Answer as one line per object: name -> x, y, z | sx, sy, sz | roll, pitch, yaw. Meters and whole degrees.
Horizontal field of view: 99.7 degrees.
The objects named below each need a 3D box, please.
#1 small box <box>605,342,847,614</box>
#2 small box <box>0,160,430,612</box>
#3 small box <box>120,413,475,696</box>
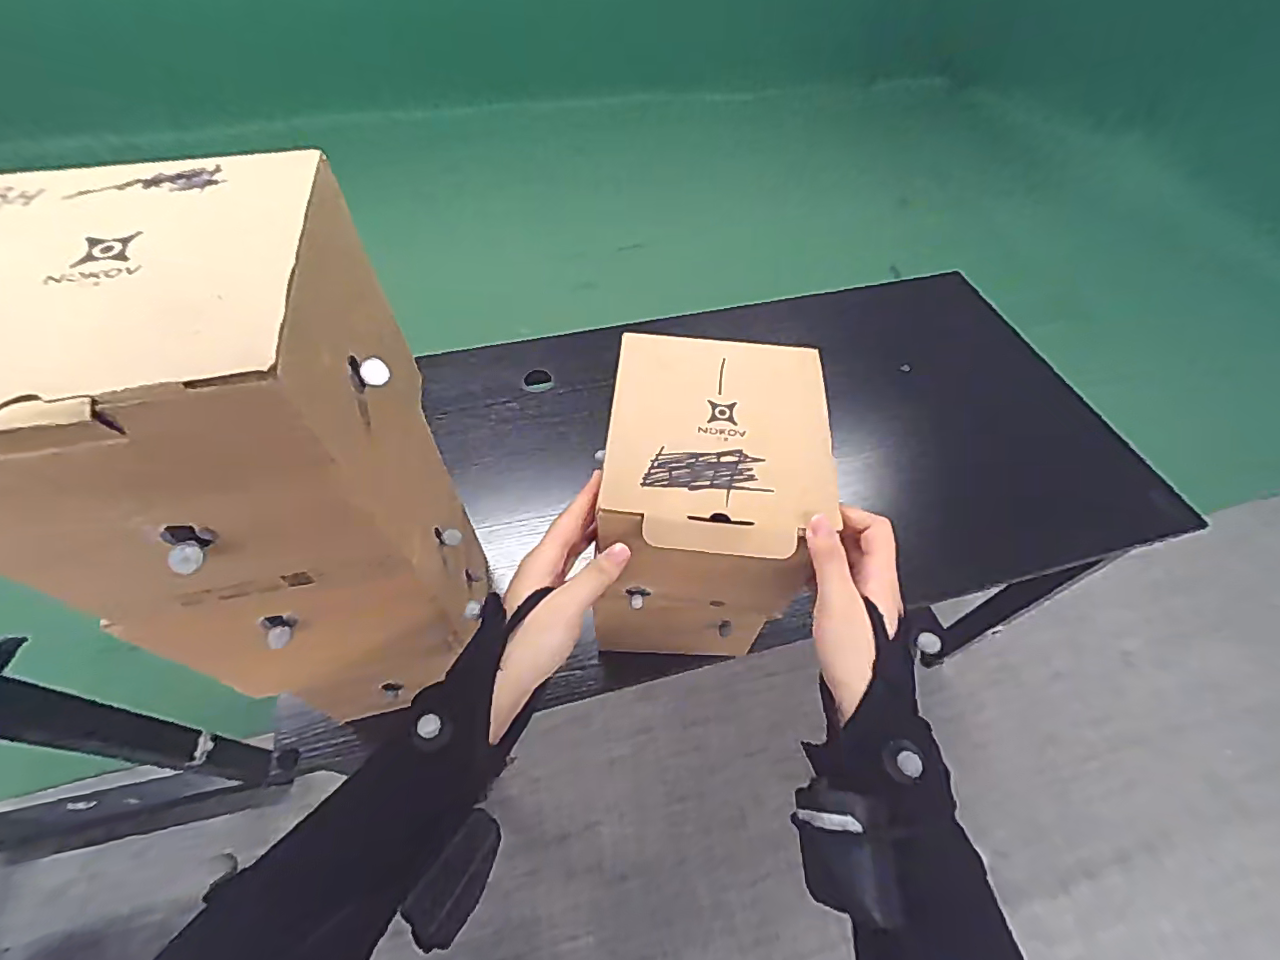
small box -> 0.063, 0.006, 0.471 | 0.168, 0.176, 0.179 | 4, 57, 1
small box -> -0.224, -0.041, 0.299 | 0.168, 0.176, 0.179 | -10, 57, -8
small box -> -0.237, 0.054, 0.432 | 0.179, 0.176, 0.168 | -11, 56, -9
